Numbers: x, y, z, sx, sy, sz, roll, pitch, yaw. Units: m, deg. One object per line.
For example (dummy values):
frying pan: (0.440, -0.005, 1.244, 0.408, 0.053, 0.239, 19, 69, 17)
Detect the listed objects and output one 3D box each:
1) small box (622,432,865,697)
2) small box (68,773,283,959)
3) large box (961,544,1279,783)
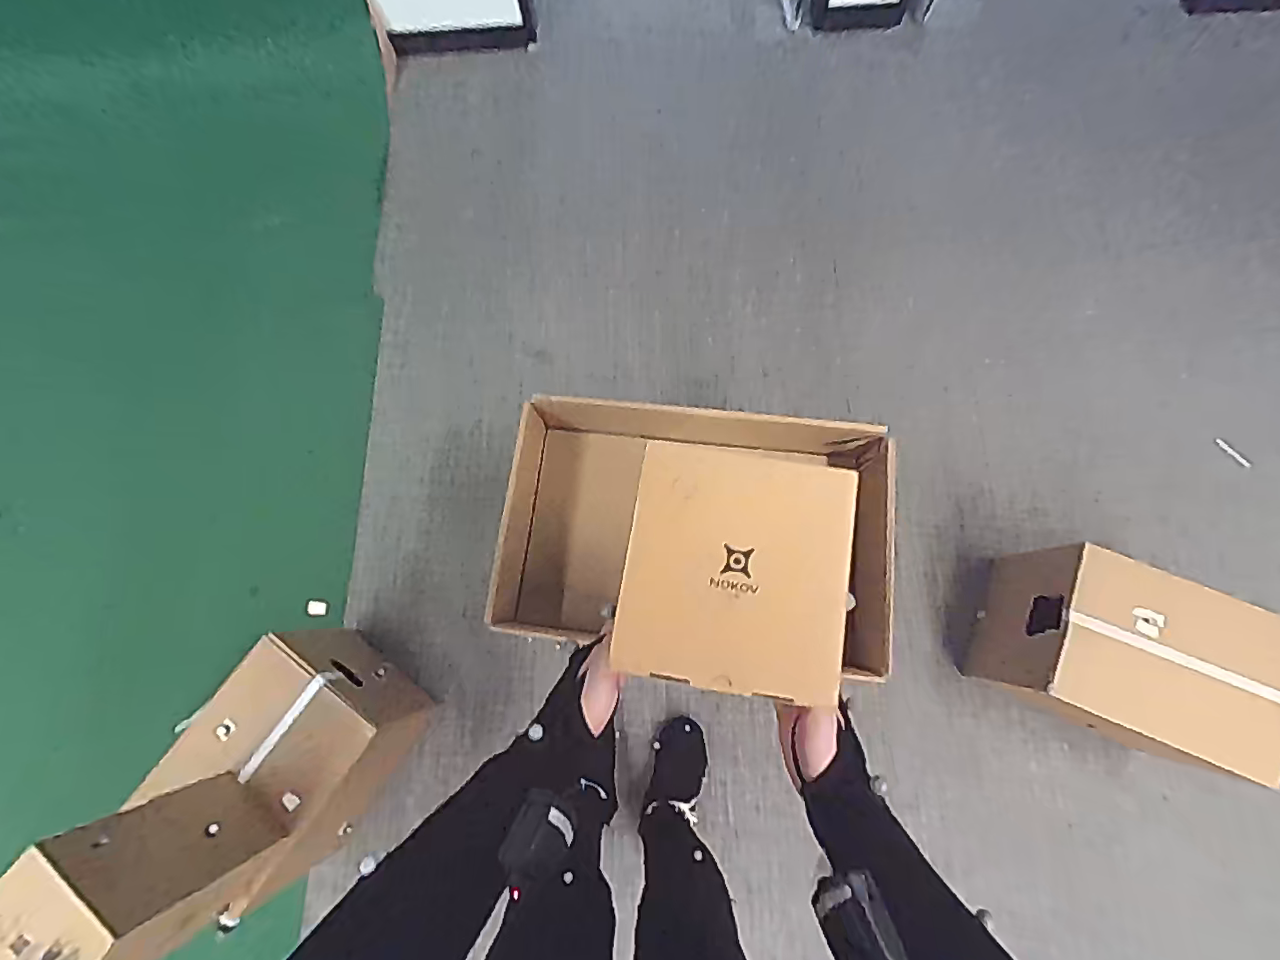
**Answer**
small box: (0.082, 0.075, 0.482, 0.168, 0.176, 0.179, 9, 79, 4)
small box: (-0.754, 0.627, 0.901, 0.179, 0.176, 0.168, 38, 79, 10)
large box: (0.998, 0.367, 1.155, 0.408, 0.320, 0.320, 22, 77, 8)
